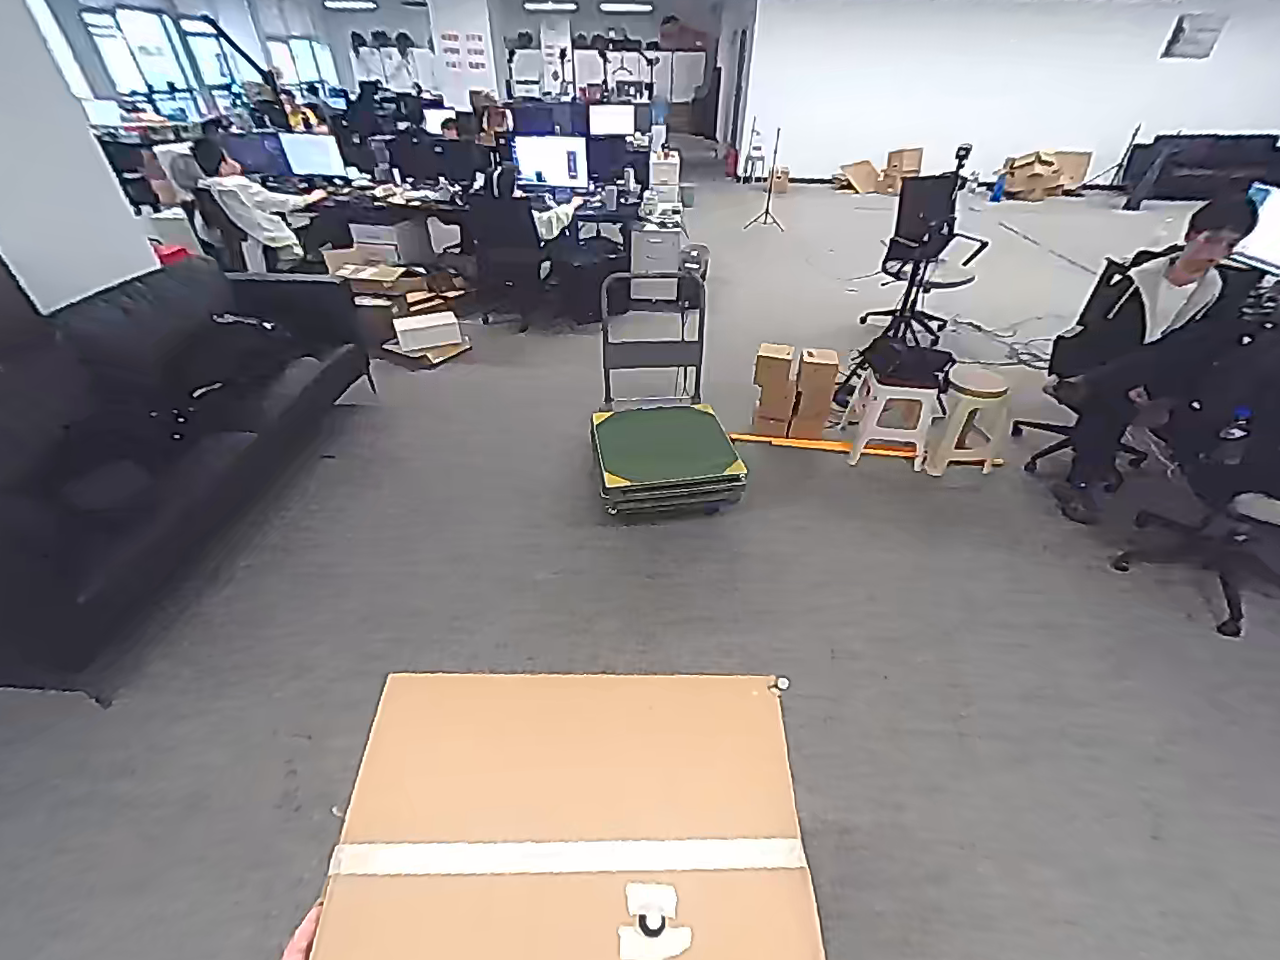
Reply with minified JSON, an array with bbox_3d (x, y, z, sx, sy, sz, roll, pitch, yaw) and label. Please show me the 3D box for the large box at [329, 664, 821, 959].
[{"bbox_3d":[-0.060,0.413,0.602,0.408,0.320,0.320,1,53,-3],"label":"large box"}]
